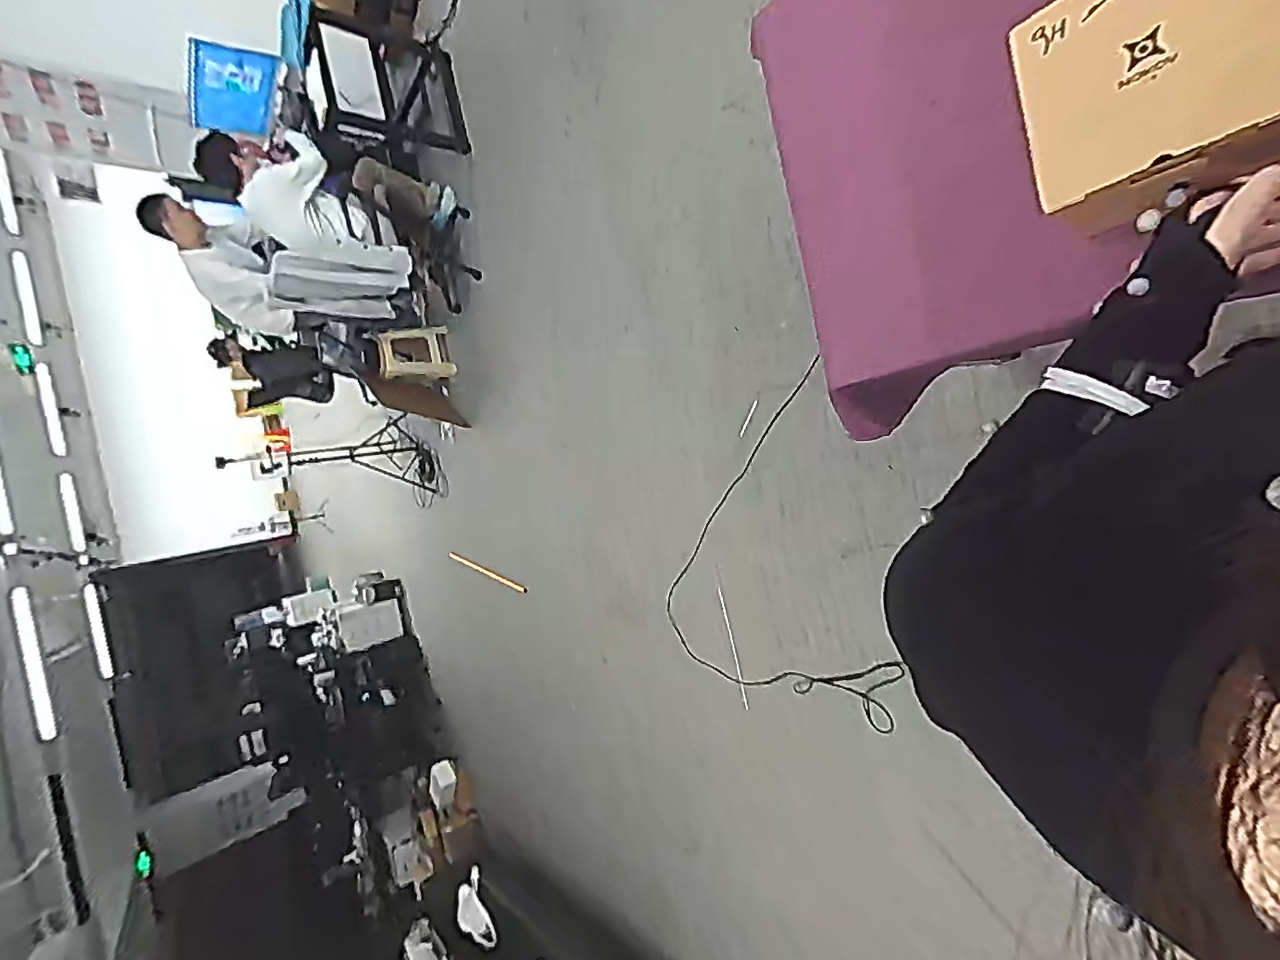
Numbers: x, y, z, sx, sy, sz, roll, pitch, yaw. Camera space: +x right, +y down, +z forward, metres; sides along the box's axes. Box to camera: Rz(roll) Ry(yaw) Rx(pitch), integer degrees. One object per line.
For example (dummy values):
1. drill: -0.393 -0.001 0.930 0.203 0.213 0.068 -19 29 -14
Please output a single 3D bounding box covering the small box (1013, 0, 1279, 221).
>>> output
1. small box: 0.475 -0.358 0.492 0.168 0.176 0.179 -11 92 50
